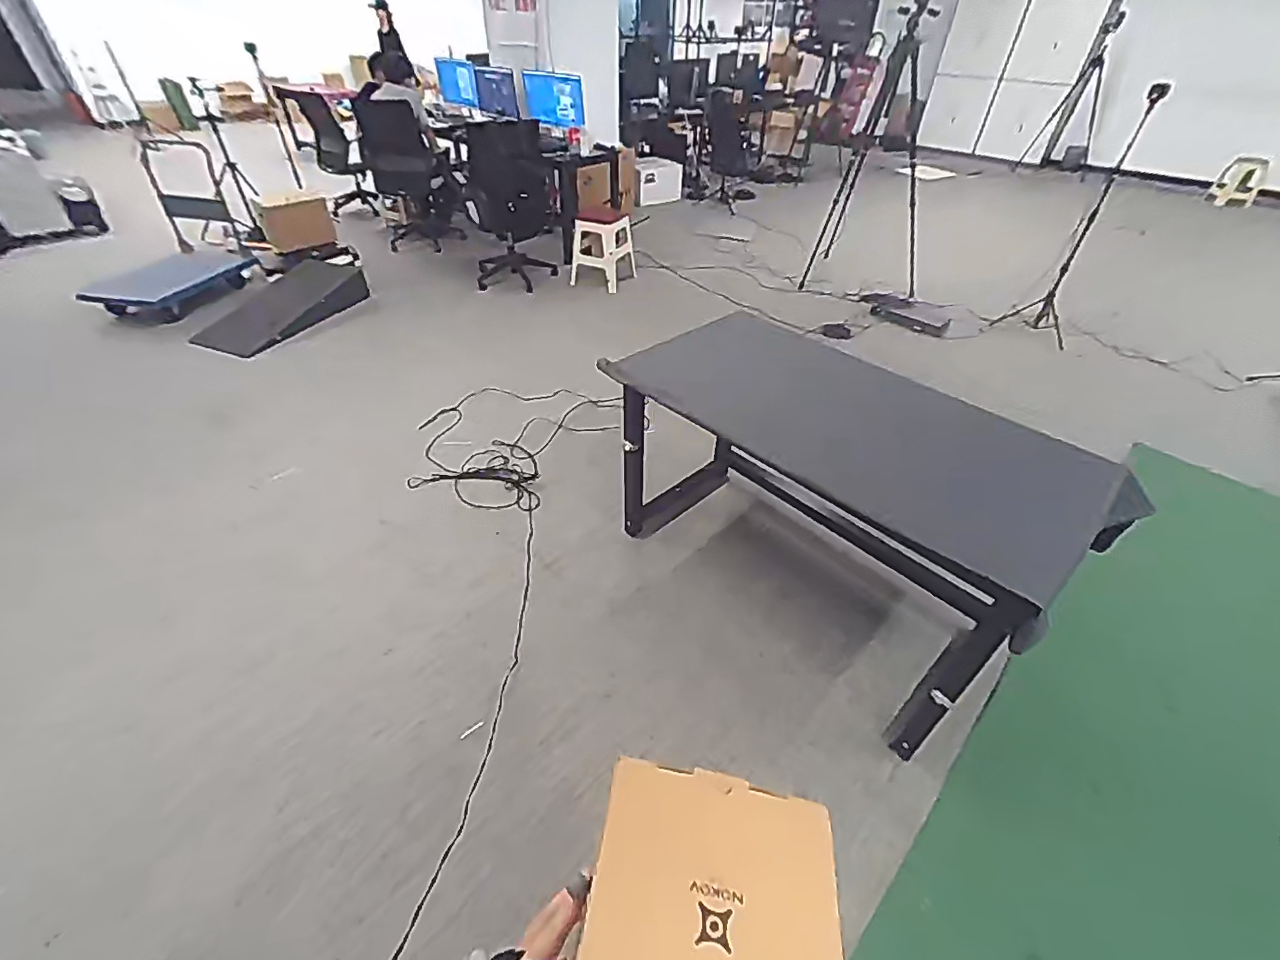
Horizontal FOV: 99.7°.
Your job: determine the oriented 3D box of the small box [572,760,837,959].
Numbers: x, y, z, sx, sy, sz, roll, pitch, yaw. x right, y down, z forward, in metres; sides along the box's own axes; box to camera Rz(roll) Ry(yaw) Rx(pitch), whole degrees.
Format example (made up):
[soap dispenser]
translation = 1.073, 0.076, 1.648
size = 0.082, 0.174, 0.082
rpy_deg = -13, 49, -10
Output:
[small box]
translation = 0.037, 0.350, 0.401
size = 0.168, 0.176, 0.179
rpy_deg = 12, 37, 4
